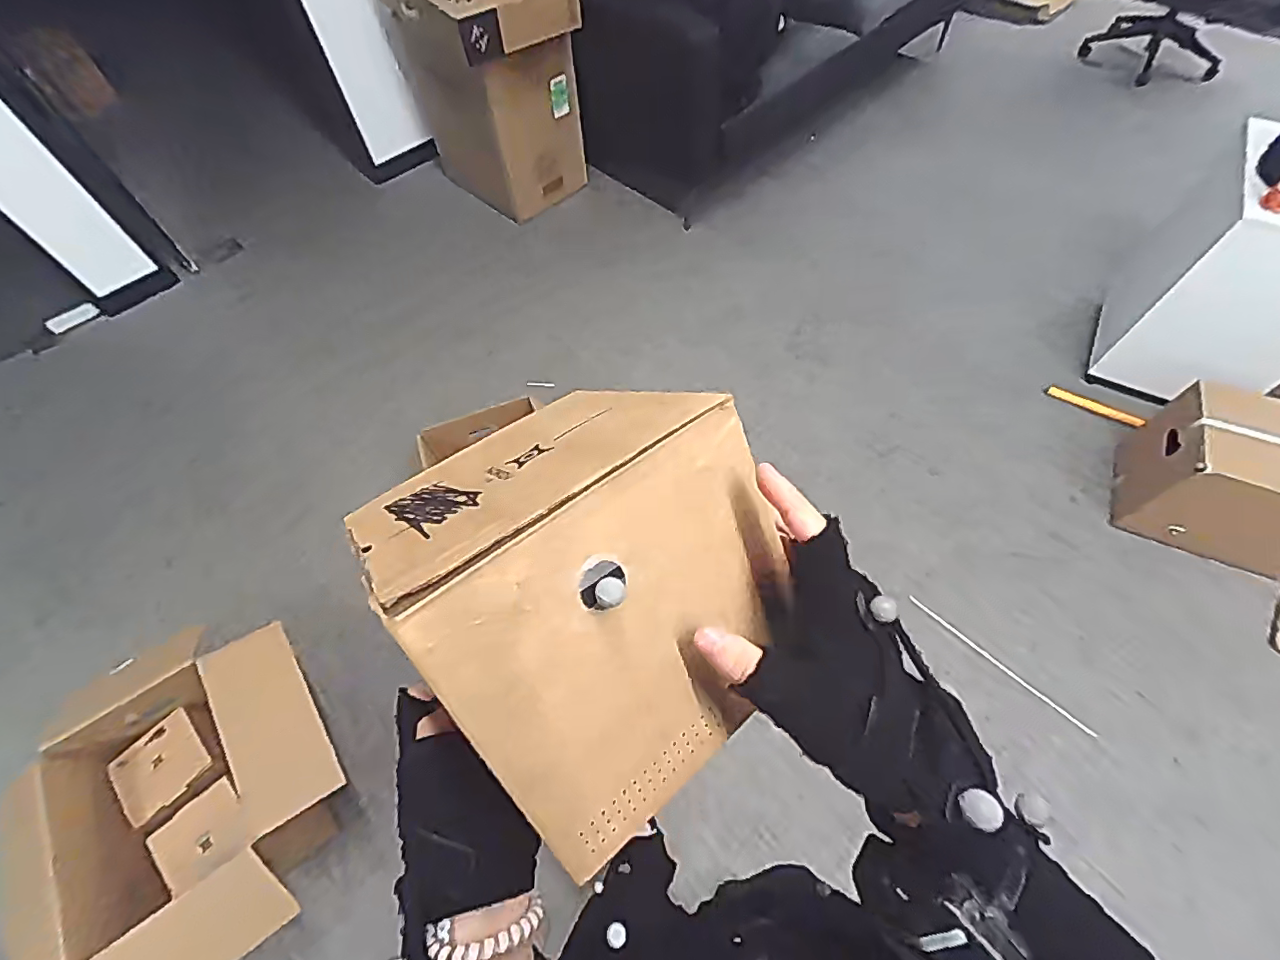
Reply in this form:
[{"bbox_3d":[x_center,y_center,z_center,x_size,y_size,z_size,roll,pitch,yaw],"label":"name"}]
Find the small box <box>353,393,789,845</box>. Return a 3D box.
[{"bbox_3d":[-0.038,0.061,0.325,0.179,0.176,0.168,-33,25,-23],"label":"small box"}]
